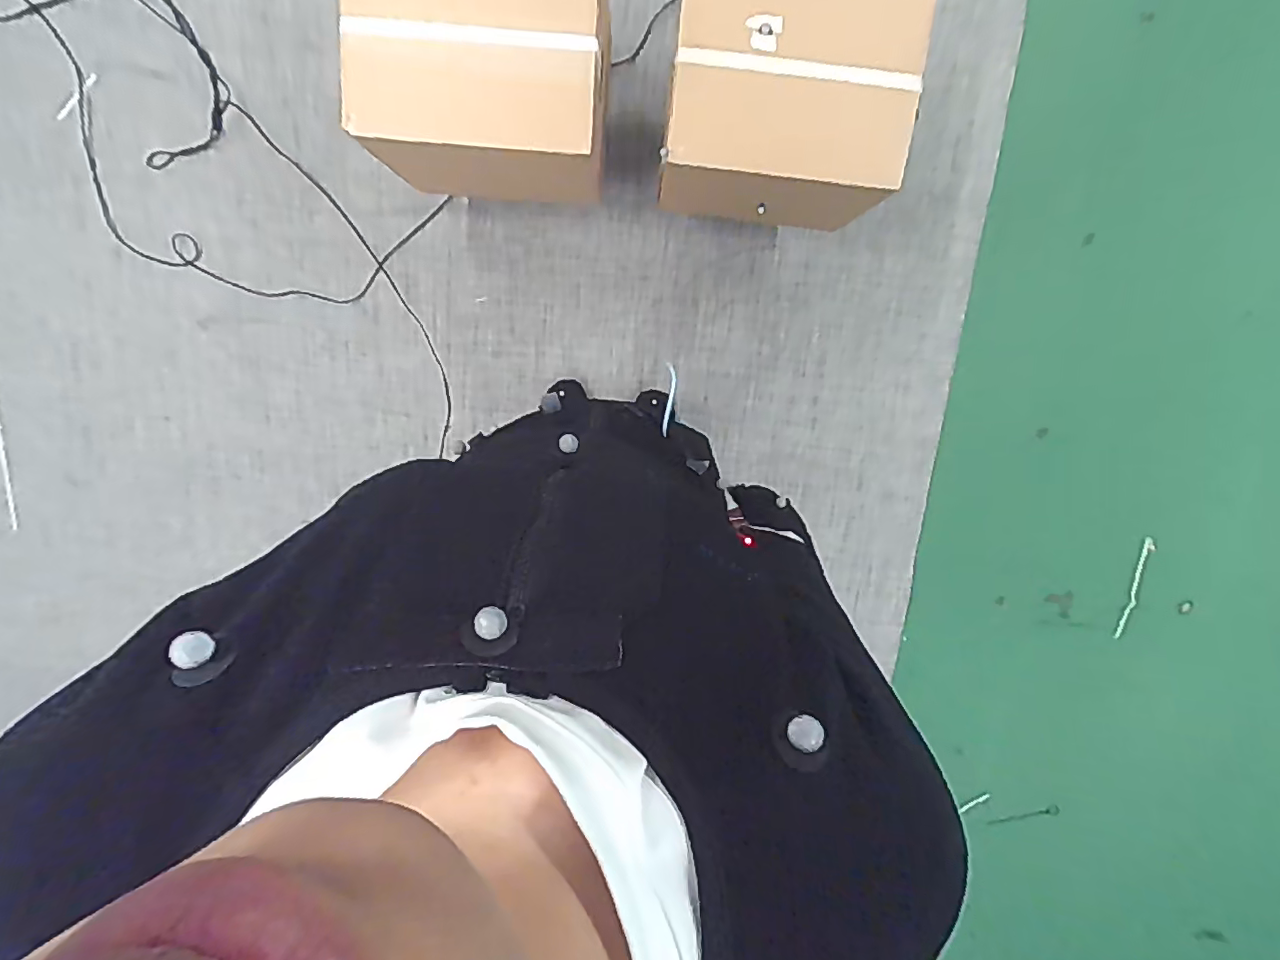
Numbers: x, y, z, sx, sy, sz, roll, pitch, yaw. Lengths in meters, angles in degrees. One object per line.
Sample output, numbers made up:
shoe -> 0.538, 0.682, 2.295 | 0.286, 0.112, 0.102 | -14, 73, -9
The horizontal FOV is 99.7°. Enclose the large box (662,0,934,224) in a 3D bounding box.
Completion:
large box -> 0.263, -0.704, 1.035 | 0.408, 0.320, 0.320 | 7, 102, -2
